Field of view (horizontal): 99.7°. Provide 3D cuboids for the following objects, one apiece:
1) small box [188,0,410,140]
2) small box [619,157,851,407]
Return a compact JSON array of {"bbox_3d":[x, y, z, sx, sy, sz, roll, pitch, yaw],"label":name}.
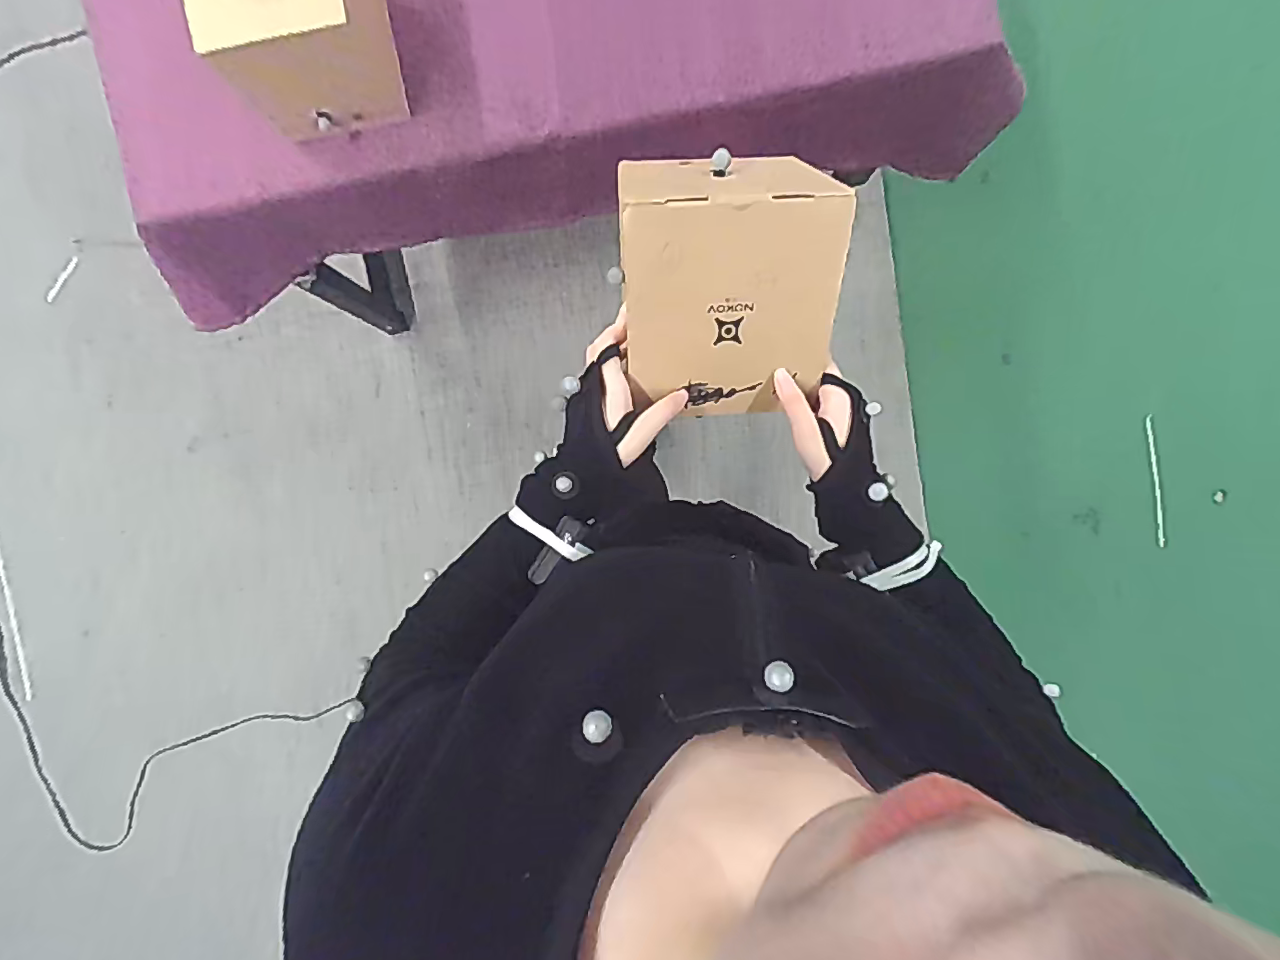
[{"bbox_3d":[-0.403,-0.554,0.649,0.168,0.176,0.179,-11,93,0],"label":"small box"},{"bbox_3d":[0.066,-0.184,0.489,0.168,0.176,0.179,-2,128,0],"label":"small box"}]
